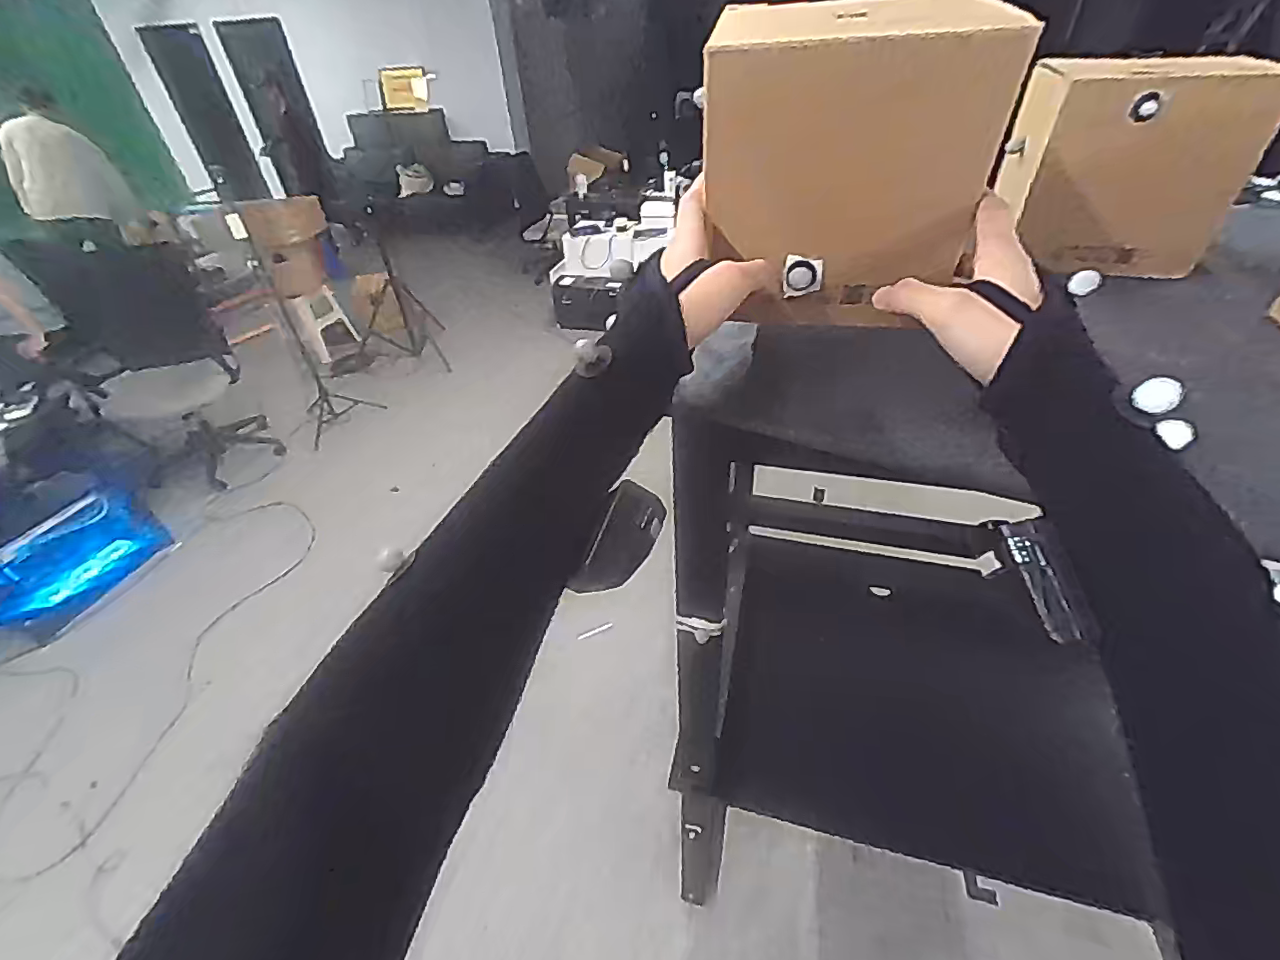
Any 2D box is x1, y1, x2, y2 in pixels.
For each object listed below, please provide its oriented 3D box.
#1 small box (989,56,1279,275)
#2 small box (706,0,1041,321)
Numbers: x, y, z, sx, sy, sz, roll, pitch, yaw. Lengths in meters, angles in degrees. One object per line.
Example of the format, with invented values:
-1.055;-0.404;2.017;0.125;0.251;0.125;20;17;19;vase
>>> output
0.489;-0.330;0.564;0.168;0.176;0.179;11;41;18;small box
0.138;-0.236;0.393;0.168;0.176;0.179;4;45;10;small box
